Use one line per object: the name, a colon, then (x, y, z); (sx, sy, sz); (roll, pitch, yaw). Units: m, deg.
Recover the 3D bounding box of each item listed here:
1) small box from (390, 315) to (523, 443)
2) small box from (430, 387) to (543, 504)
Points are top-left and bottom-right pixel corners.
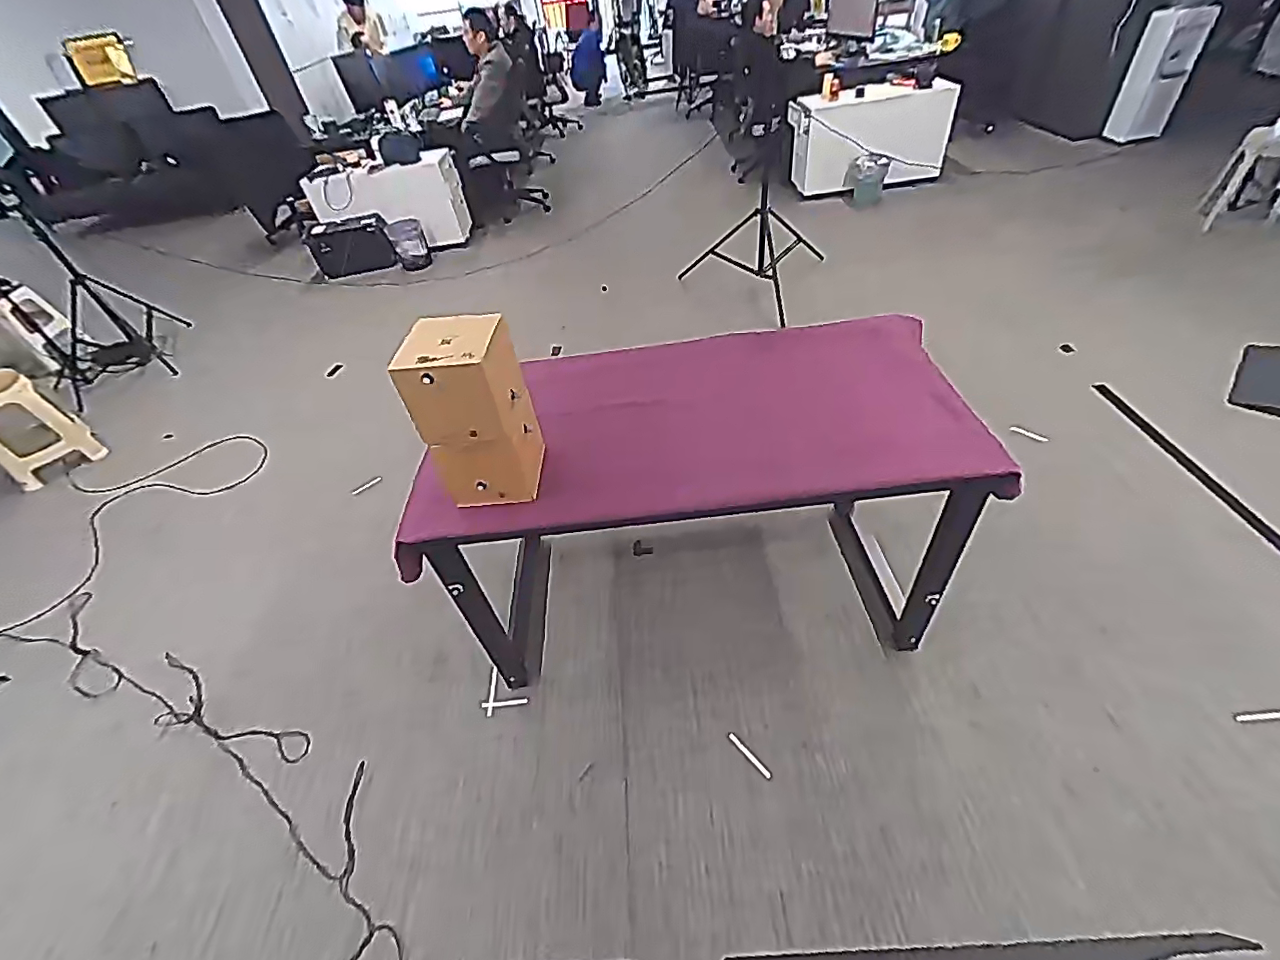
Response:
small box: (-0.327, -0.188, 1.009); (0.168, 0.176, 0.179); (-3, 43, 6)
small box: (-0.305, -0.070, 1.121); (0.168, 0.176, 0.179); (-5, 44, 4)
